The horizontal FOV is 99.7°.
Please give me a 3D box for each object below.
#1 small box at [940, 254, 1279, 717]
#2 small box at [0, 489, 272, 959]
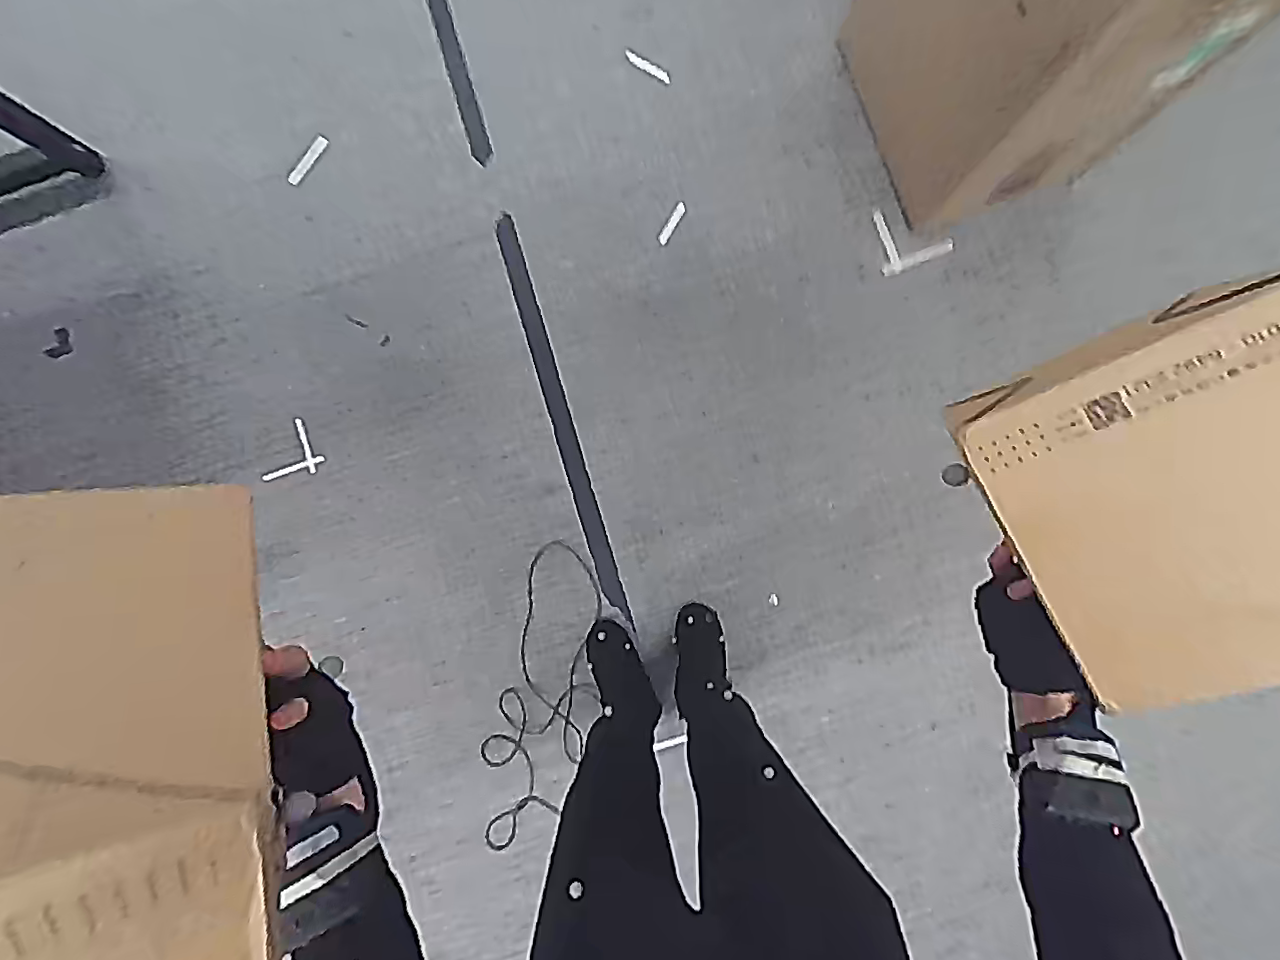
[{"bbox_3d":[0.291,-0.008,0.302,0.168,0.179,0.176,-30,88,30],"label":"small box"},{"bbox_3d":[-0.243,0.116,0.189,0.179,0.168,0.176,-4,123,-35],"label":"small box"}]
